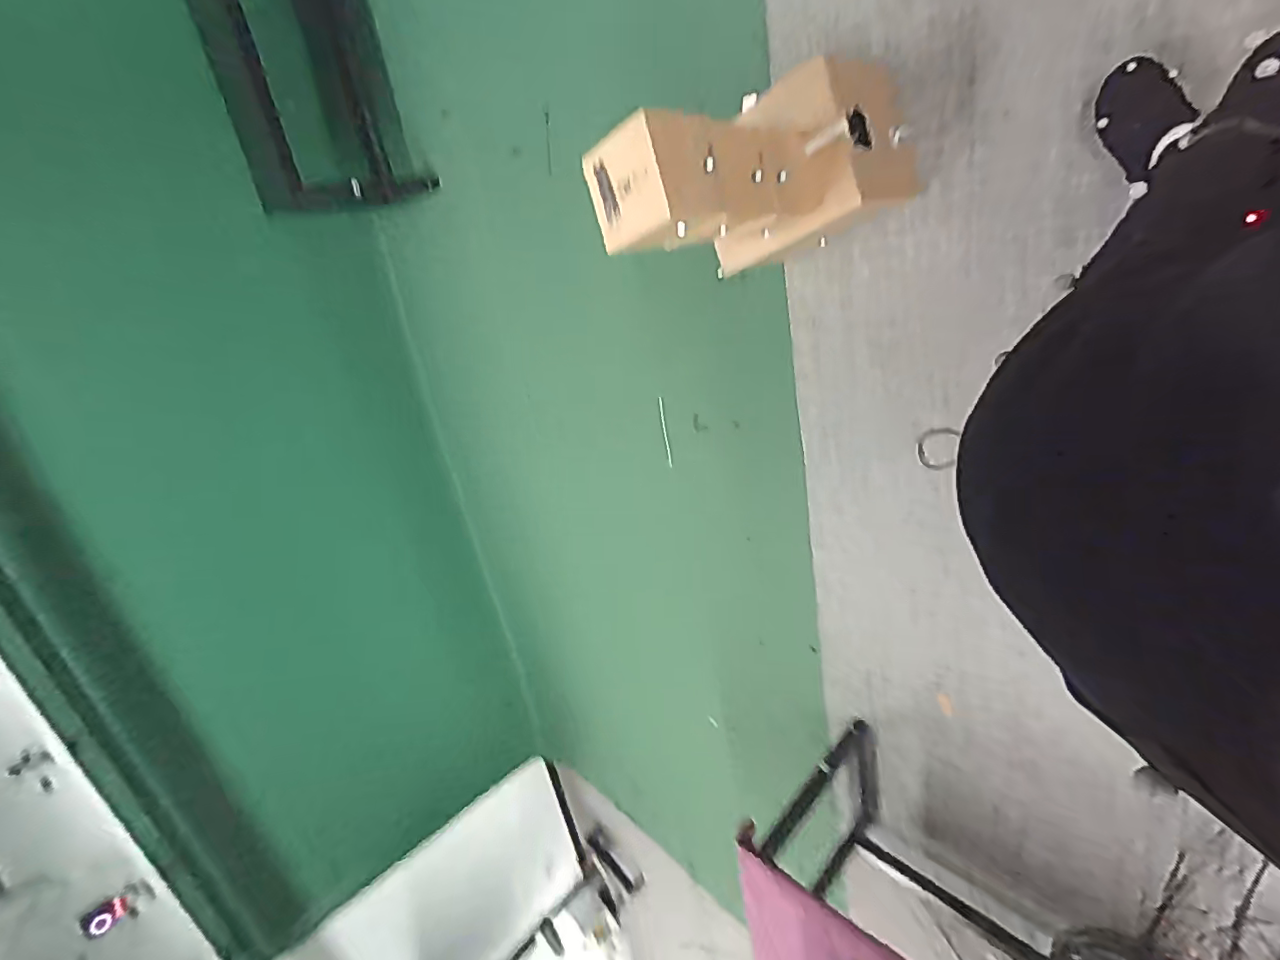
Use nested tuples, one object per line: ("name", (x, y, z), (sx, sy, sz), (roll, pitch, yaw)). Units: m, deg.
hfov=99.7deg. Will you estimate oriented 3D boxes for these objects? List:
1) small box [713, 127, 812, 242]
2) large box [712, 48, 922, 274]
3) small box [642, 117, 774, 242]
("small box", (0.253, -0.643, 1.178), (0.168, 0.176, 0.179), (0, 112, 50))
("large box", (0.402, -0.759, 1.340), (0.408, 0.320, 0.320), (-8, 104, 53))
("small box", (0.138, -0.590, 1.077), (0.179, 0.176, 0.168), (1, 113, 49))
